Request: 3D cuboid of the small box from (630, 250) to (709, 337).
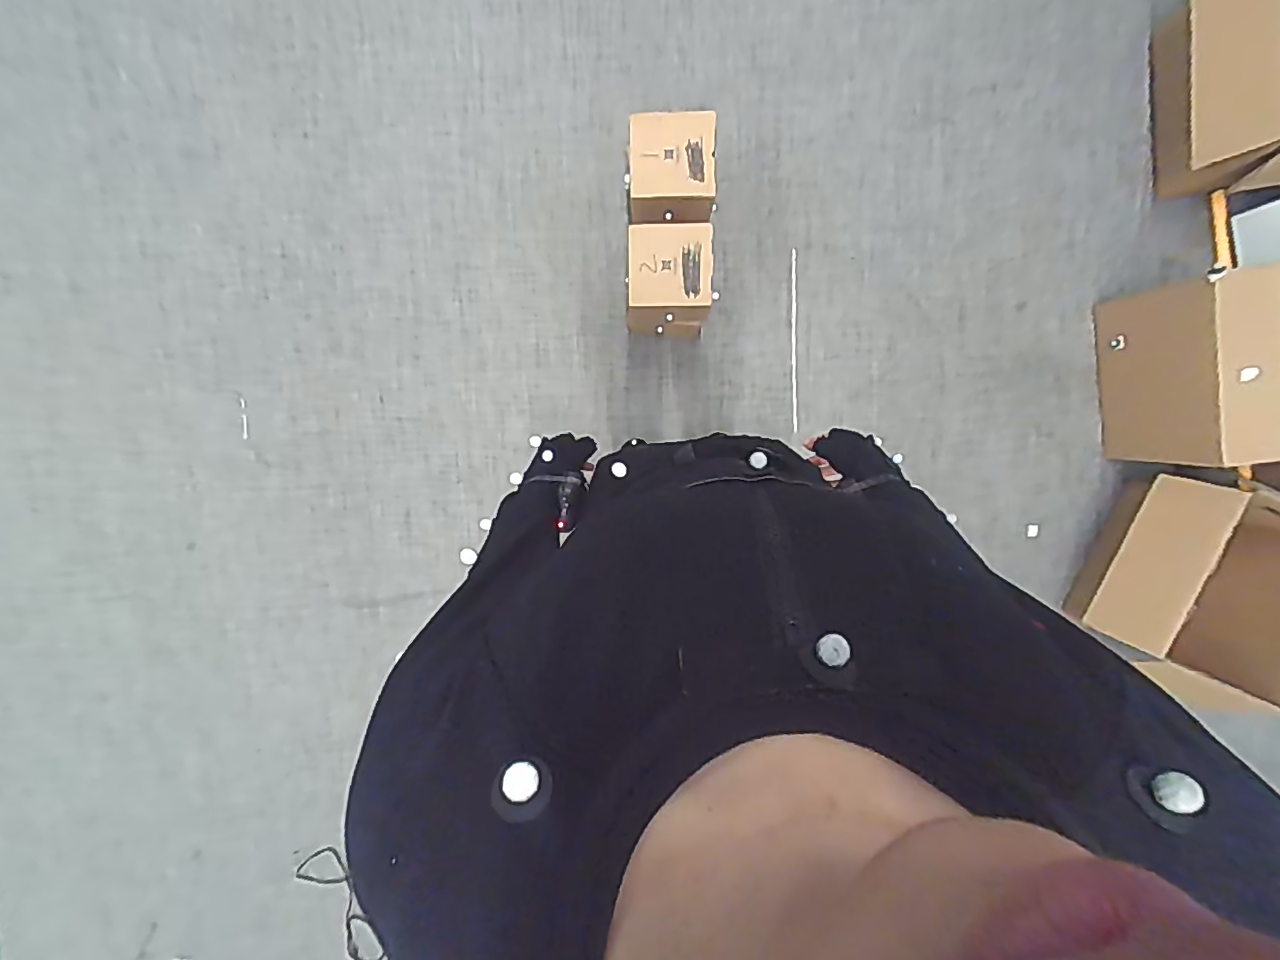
[{"bbox_3d":[0.073,-0.458,1.348,0.179,0.176,0.168,4,96,2],"label":"small box"}]
